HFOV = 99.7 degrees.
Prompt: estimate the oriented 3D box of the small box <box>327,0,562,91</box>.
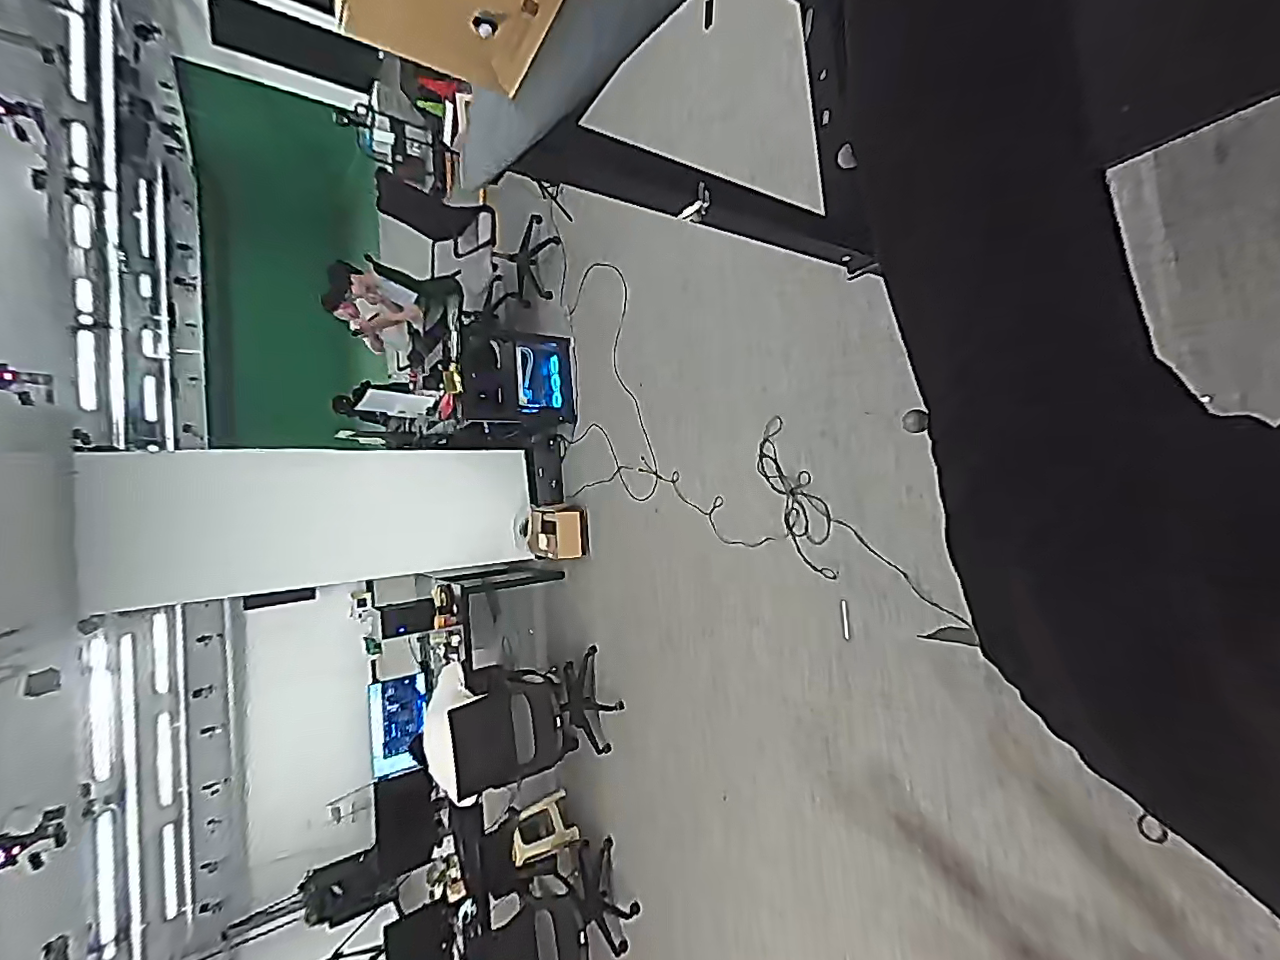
[{"bbox_3d":[-0.171,-0.496,0.472,0.168,0.176,0.179,-16,81,54],"label":"small box"}]
